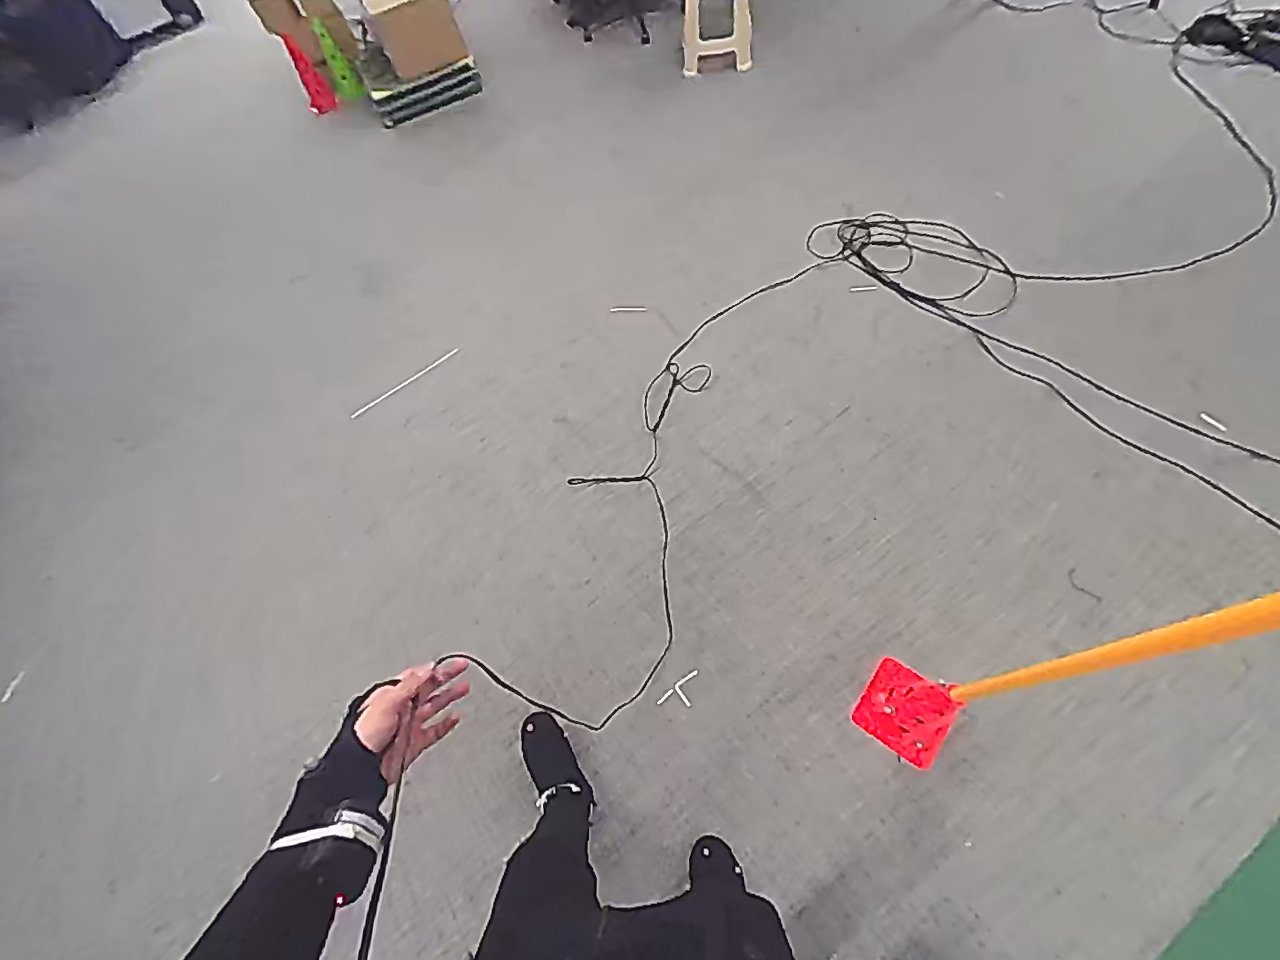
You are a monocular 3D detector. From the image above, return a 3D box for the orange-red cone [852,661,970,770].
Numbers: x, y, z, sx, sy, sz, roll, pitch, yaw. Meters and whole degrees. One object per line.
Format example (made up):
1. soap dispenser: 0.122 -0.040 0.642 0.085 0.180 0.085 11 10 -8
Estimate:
1. orange-red cone: 0.633 0.496 1.187 0.198 0.360 0.199 34 71 22
